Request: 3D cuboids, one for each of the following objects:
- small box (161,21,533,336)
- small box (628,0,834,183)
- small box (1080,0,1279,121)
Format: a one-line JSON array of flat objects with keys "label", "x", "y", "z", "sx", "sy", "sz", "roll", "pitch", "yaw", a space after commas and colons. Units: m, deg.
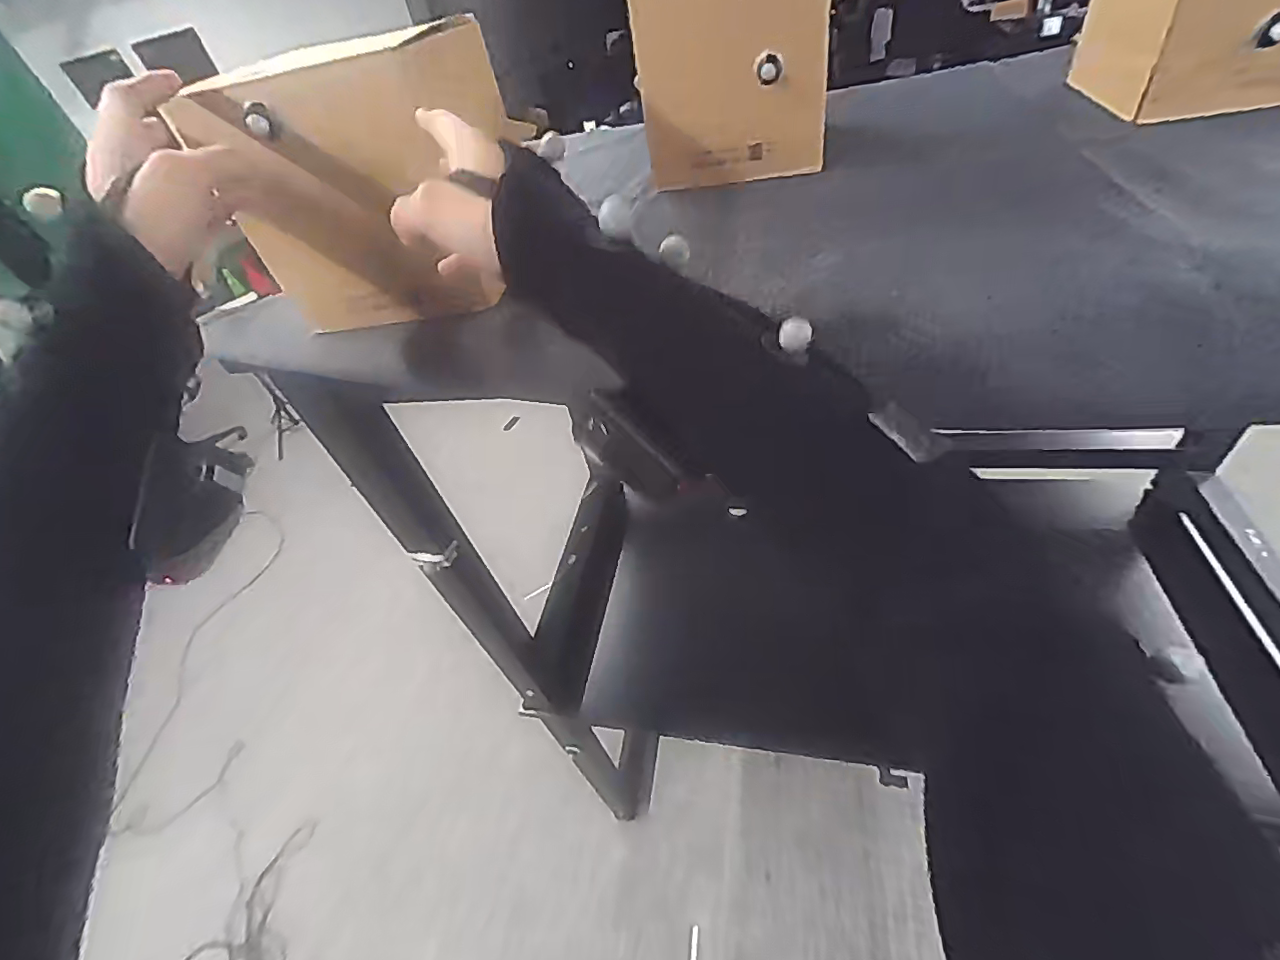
[{"label": "small box", "x": -0.197, "y": -0.237, "z": 0.433, "sx": 0.168, "sy": 0.176, "sz": 0.179, "roll": -4, "pitch": 44, "yaw": 10}, {"label": "small box", "x": 0.101, "y": -0.406, "z": 0.530, "sx": 0.168, "sy": 0.176, "sz": 0.179, "roll": 3, "pitch": 47, "yaw": 17}, {"label": "small box", "x": 0.494, "y": -0.408, "z": 0.427, "sx": 0.168, "sy": 0.176, "sz": 0.179, "roll": 1, "pitch": 46, "yaw": 16}]
